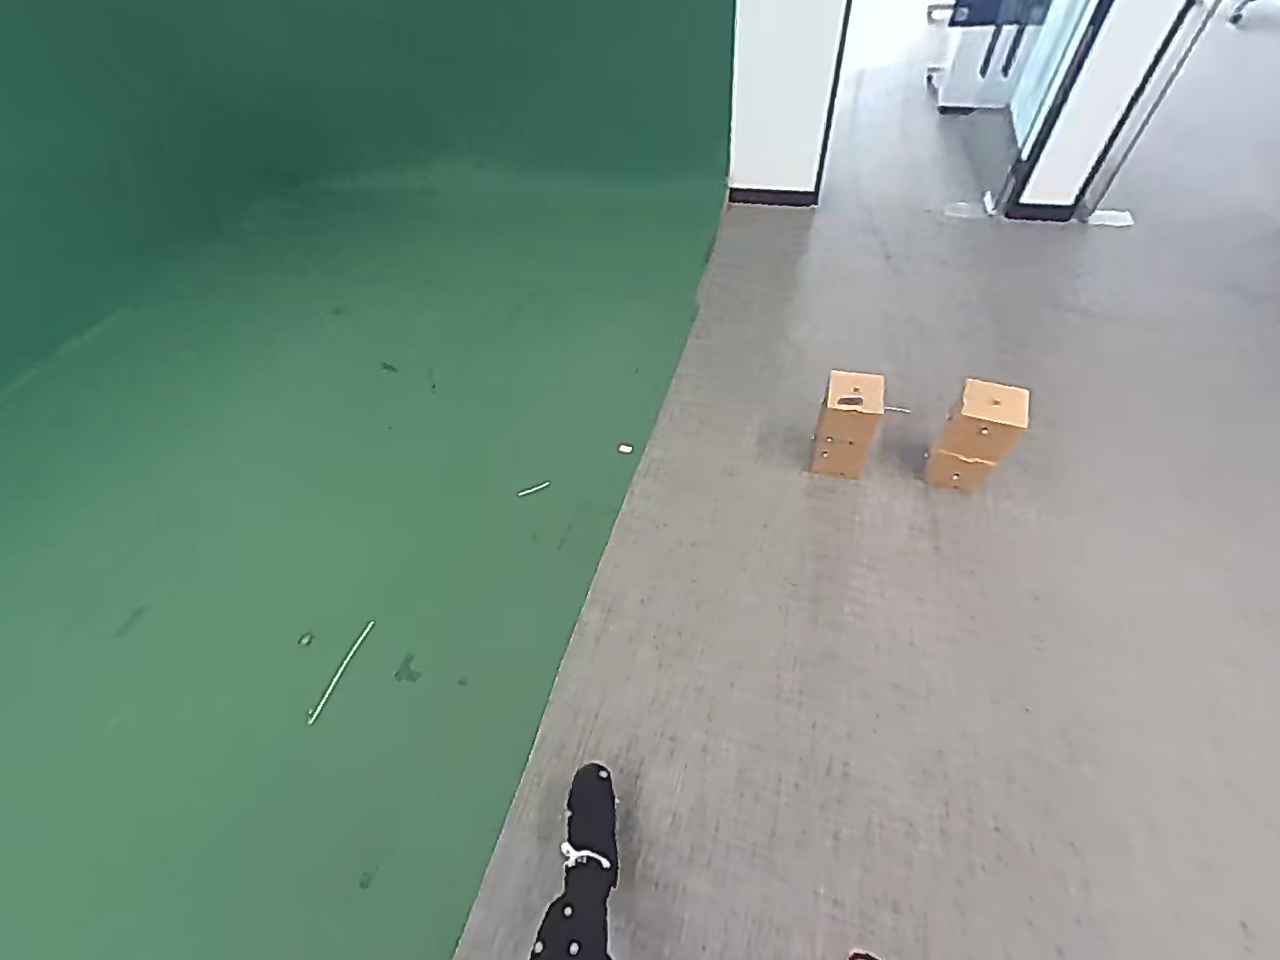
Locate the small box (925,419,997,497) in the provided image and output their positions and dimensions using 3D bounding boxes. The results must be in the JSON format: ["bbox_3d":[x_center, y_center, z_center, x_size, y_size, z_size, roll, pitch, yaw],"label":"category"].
[{"bbox_3d":[1.074,-0.069,1.806,0.168,0.176,0.179,18,59,18],"label":"small box"}]

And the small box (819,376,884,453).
[{"bbox_3d":[0.683,-0.210,1.752,0.168,0.176,0.179,9,54,13],"label":"small box"}]

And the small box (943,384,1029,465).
[{"bbox_3d":[1.070,-0.169,1.677,0.179,0.176,0.168,15,57,18],"label":"small box"}]
